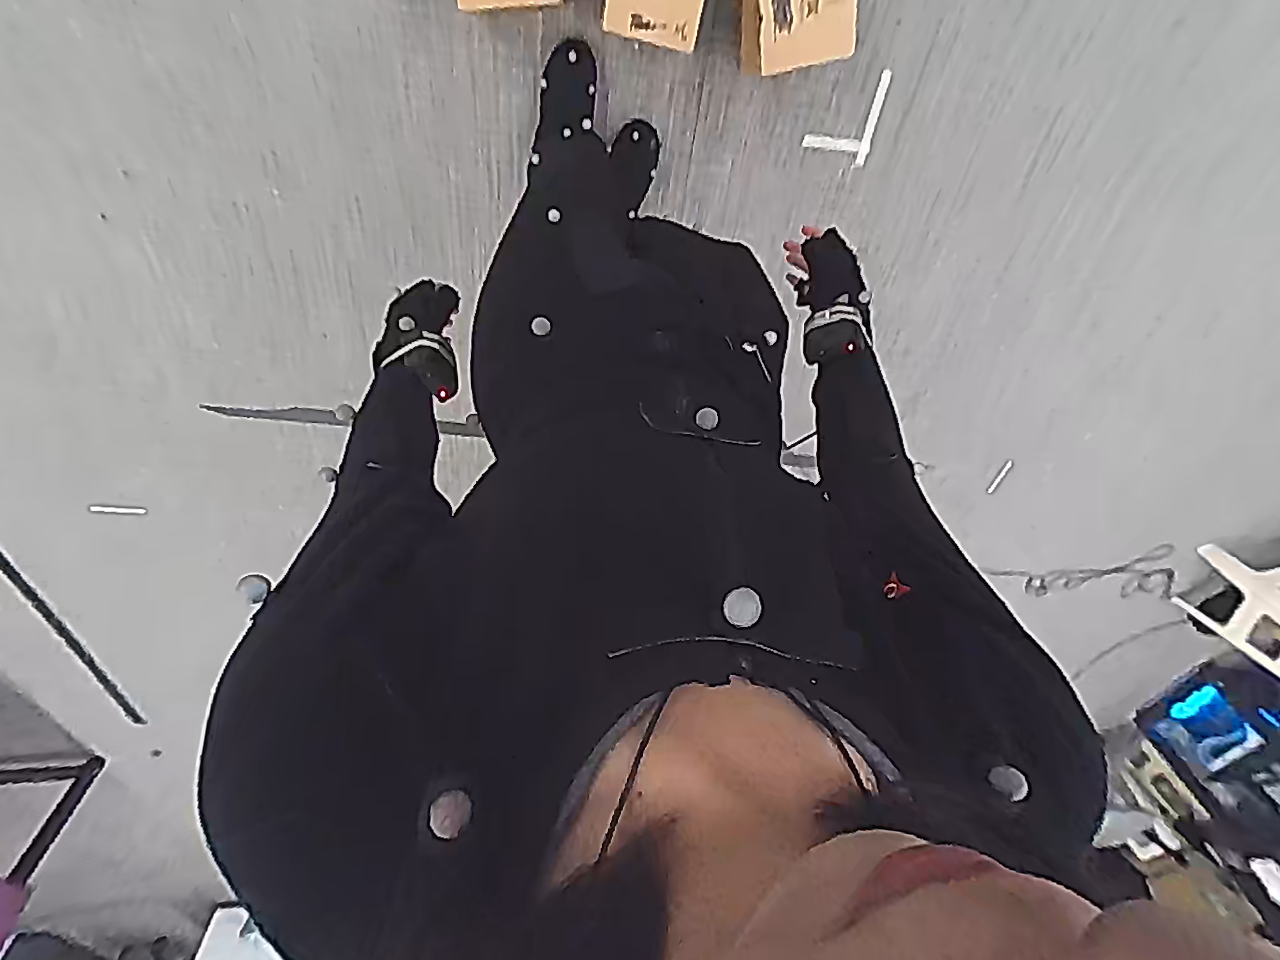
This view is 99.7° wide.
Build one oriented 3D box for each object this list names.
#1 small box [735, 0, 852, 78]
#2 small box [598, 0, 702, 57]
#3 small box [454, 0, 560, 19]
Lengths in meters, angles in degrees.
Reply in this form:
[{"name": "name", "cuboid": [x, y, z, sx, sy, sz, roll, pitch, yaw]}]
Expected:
[{"name": "small box", "cuboid": [0.277, -0.862, 1.003, 0.179, 0.176, 0.168, -11, 129, 2]}, {"name": "small box", "cuboid": [0.020, -0.882, 0.962, 0.168, 0.176, 0.179, 7, 127, -12]}, {"name": "small box", "cuboid": [-0.233, -0.902, 0.920, 0.179, 0.176, 0.168, -6, 128, 0]}]
